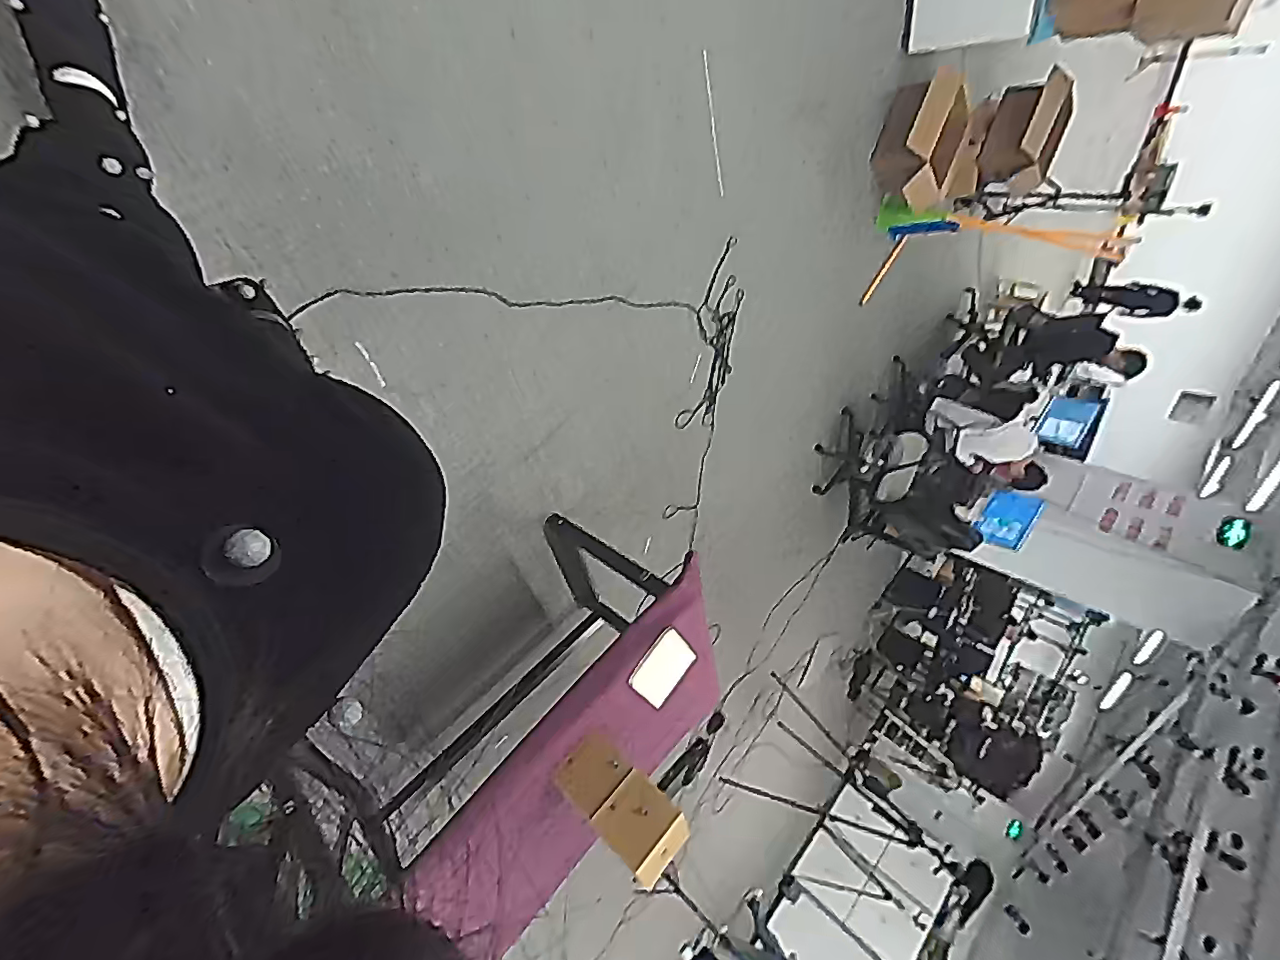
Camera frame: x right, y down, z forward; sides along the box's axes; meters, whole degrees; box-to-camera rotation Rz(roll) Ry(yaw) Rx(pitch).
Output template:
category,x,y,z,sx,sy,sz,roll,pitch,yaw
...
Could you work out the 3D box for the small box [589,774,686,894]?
category,x,y,z,sx,sy,sz,roll,pitch,yaw
small box,-0.007,0.884,1.363,0.168,0.176,0.179,-40,138,-28
